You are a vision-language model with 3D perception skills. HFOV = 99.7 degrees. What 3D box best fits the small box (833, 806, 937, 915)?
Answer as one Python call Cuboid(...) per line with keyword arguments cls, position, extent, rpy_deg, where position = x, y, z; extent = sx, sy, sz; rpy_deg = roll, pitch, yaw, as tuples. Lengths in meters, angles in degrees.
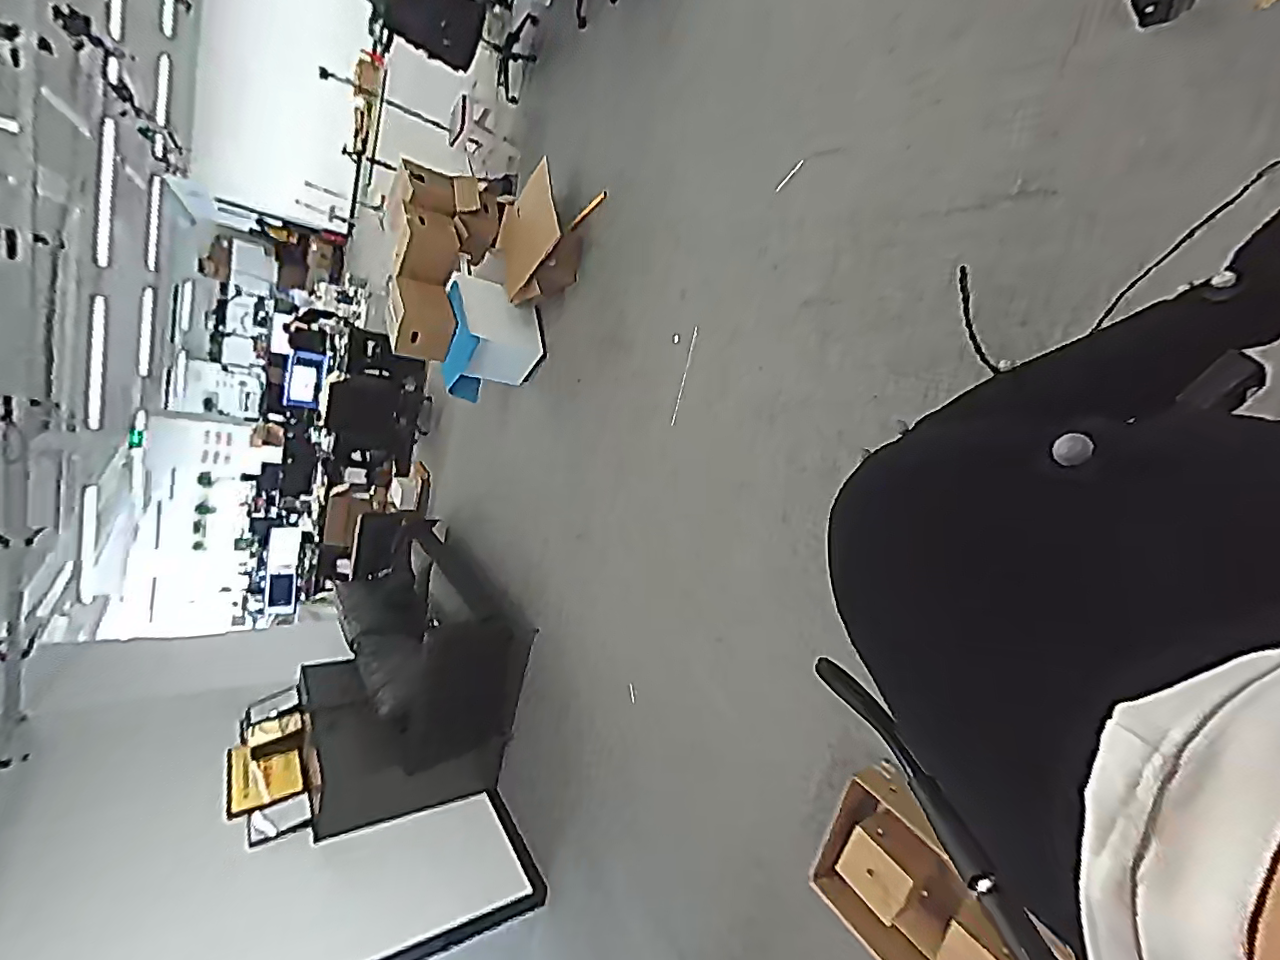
Cuboid(cls="small box", position=(0.691, 1.059, 1.526), extent=(0.179, 0.176, 0.168), rpy_deg=(36, 113, 48))
